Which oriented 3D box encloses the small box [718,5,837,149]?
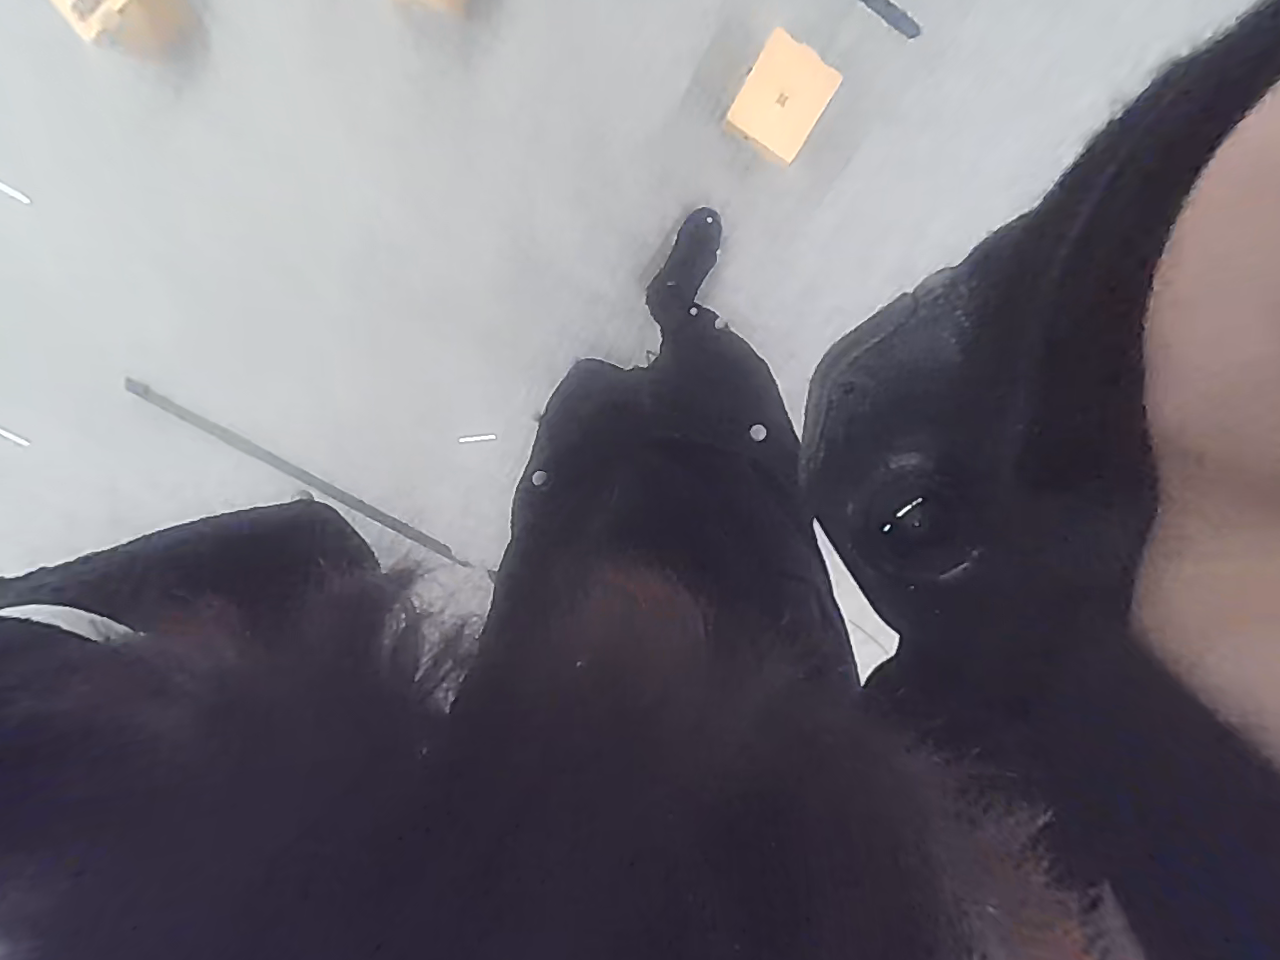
[{"bbox_3d":[0.278,-0.831,1.141,0.168,0.176,0.179,29,116,-11],"label":"small box"}]
